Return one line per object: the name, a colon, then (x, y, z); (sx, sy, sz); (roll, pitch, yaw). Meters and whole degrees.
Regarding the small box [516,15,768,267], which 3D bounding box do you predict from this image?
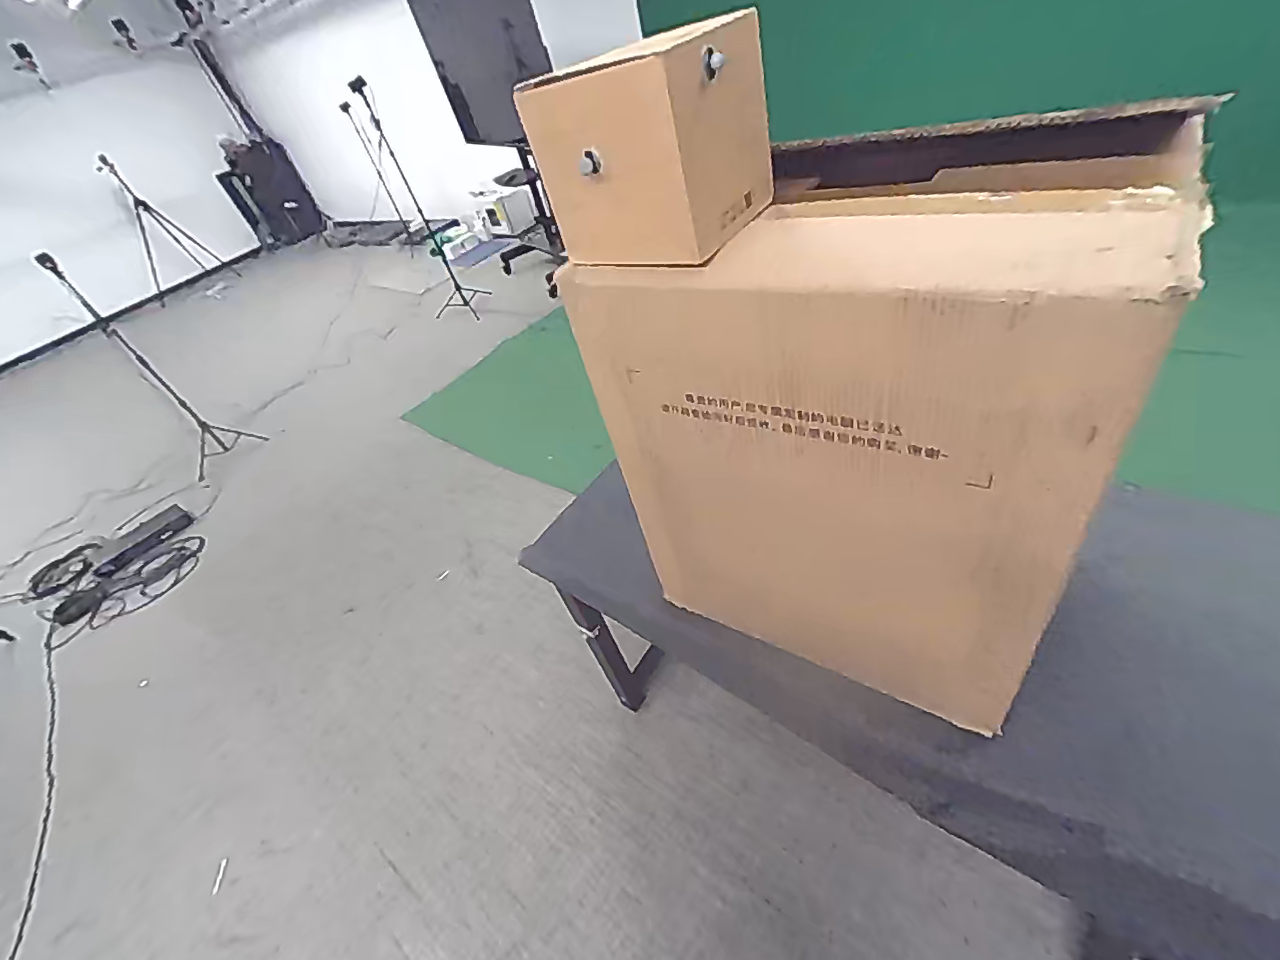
small box: (0.012, -0.334, 0.558); (0.179, 0.176, 0.168); (15, 51, 36)
